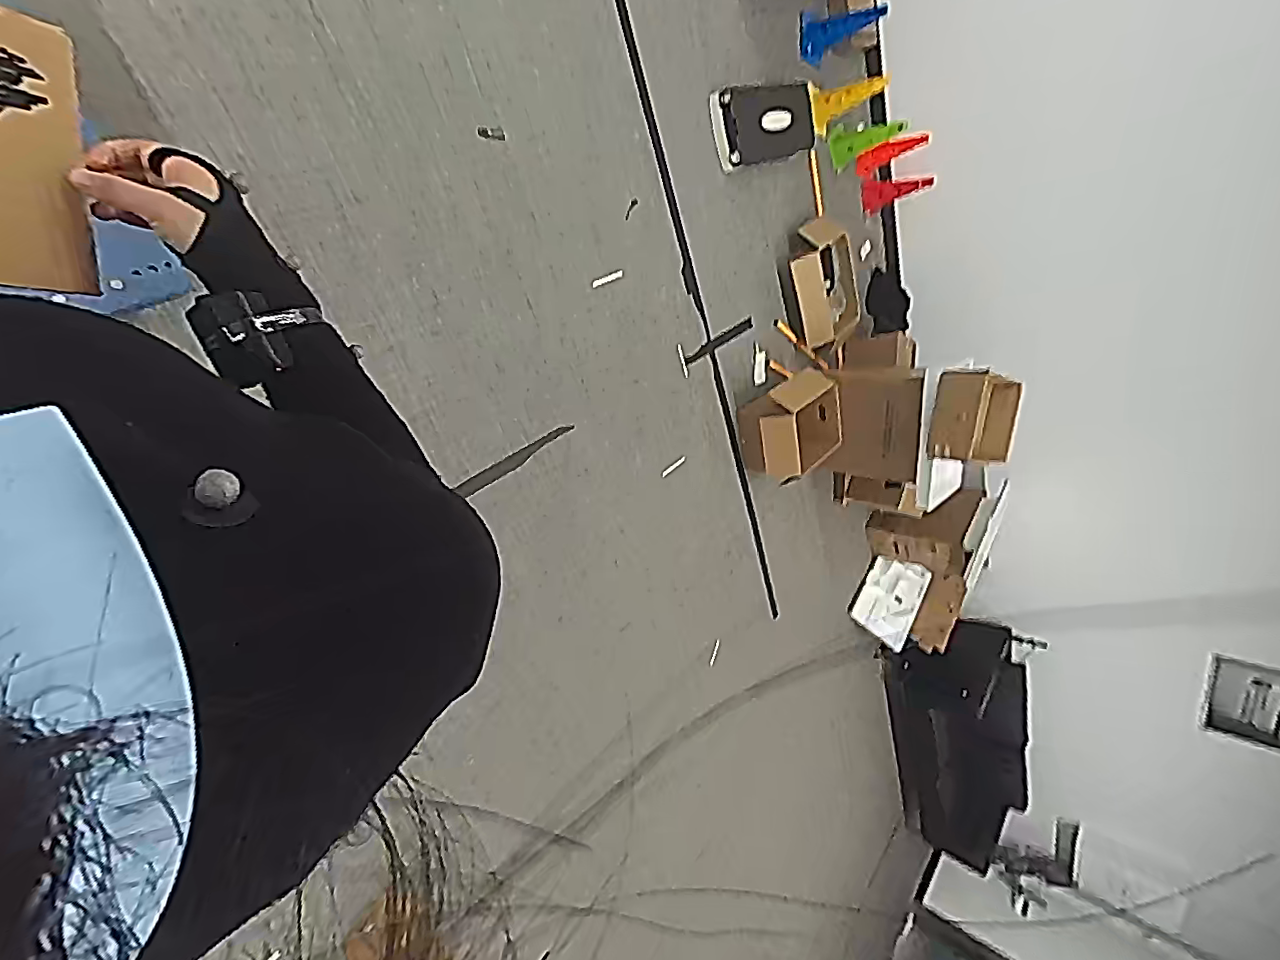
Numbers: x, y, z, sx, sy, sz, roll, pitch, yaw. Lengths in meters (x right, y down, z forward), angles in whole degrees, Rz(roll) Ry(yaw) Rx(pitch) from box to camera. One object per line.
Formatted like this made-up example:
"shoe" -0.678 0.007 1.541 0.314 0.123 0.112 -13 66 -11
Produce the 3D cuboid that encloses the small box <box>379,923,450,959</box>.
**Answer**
"small box" -0.601 1.365 1.463 0.168 0.176 0.179 -37 121 -35

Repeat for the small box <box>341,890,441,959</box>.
"small box" -0.723 1.344 1.570 0.168 0.176 0.179 -50 128 -29
